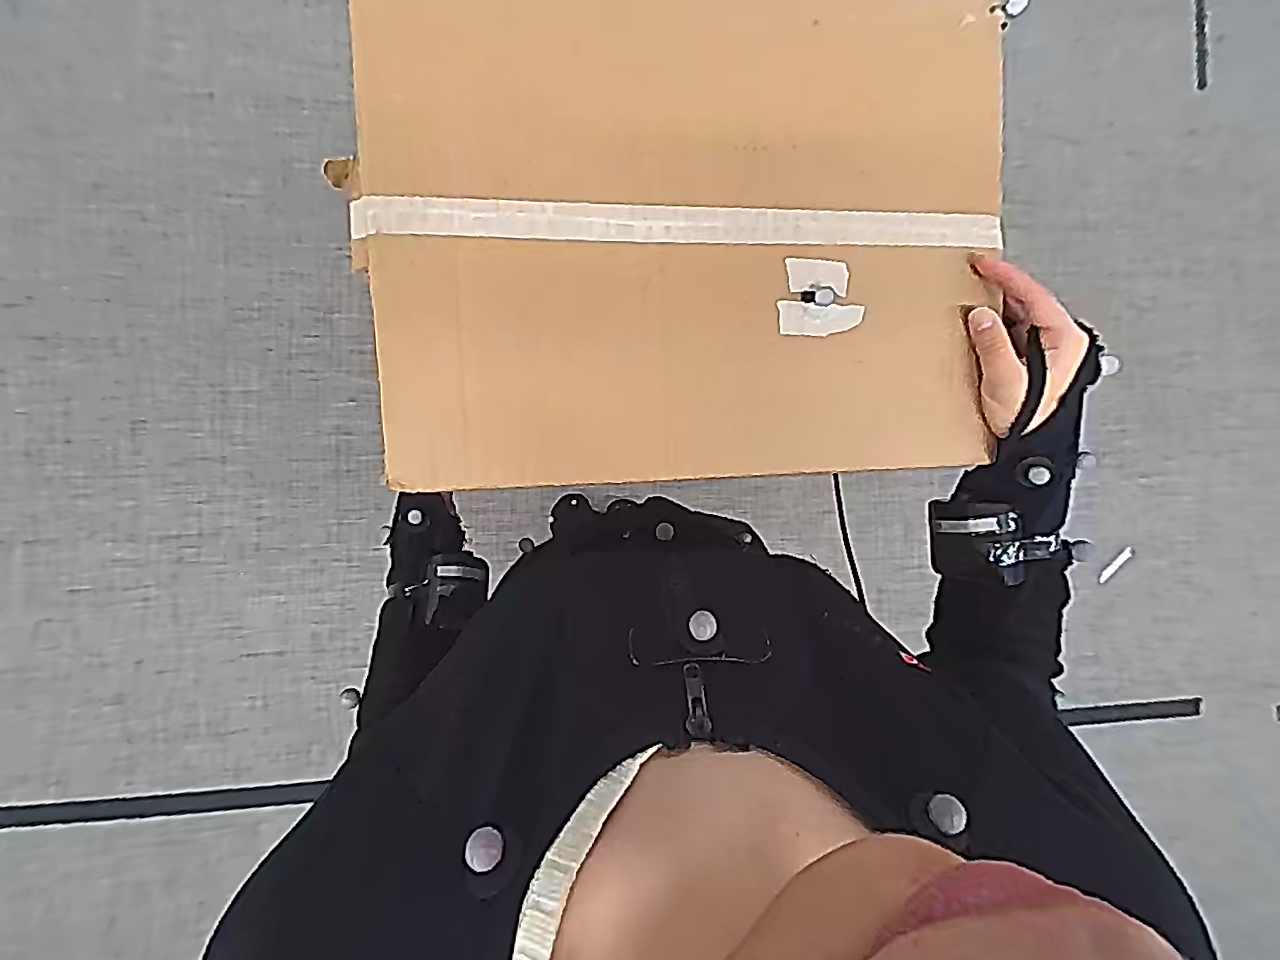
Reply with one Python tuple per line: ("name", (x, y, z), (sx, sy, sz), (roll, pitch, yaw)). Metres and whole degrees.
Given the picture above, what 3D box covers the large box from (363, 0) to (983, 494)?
("large box", (0.016, -0.167, 0.494), (0.408, 0.320, 0.320), (-3, 95, -11))
